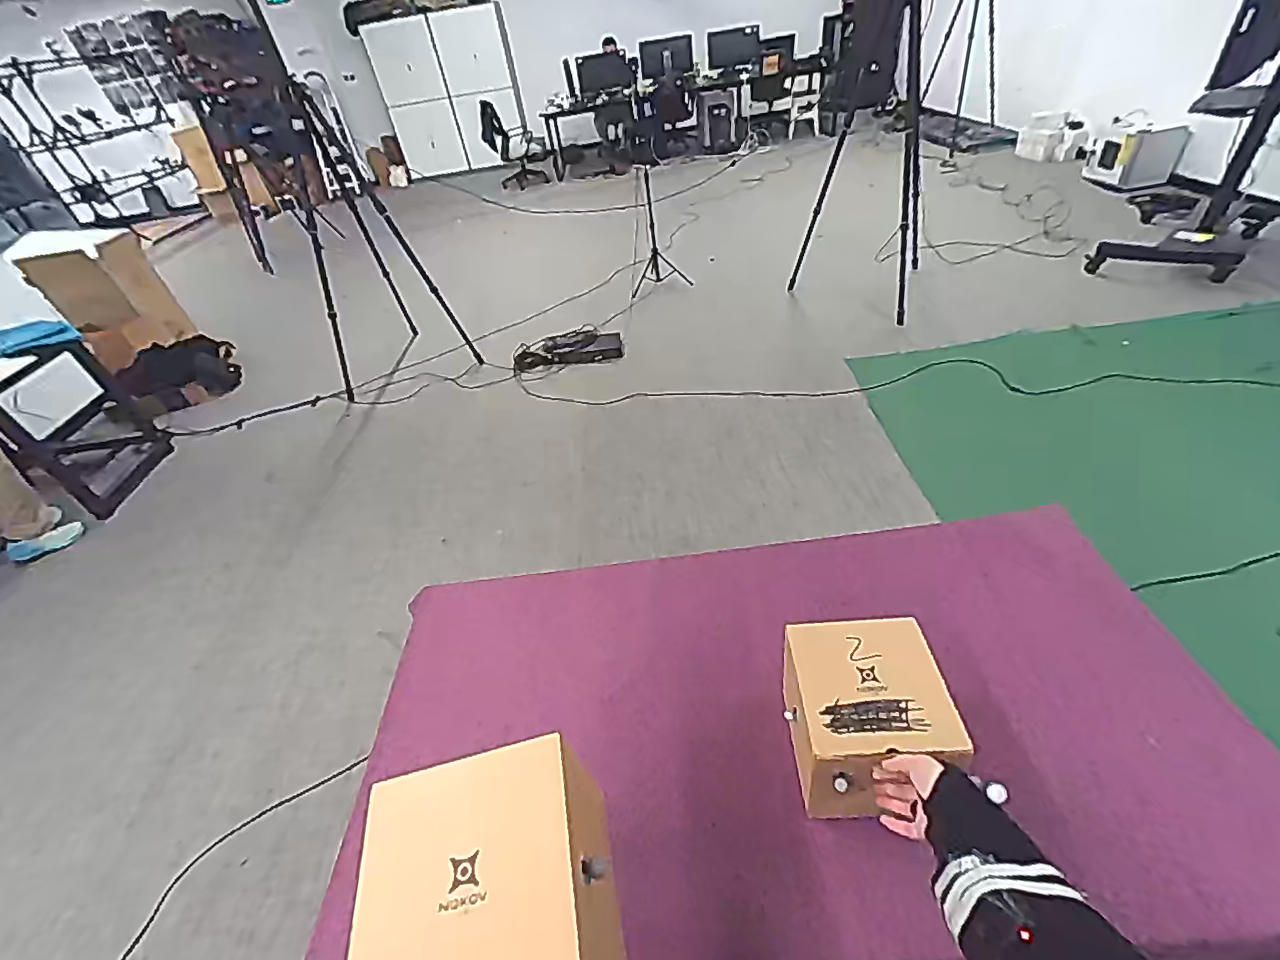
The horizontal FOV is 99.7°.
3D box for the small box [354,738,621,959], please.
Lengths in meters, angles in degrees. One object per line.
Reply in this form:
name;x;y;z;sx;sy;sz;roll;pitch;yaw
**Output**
small box;-0.118;0.359;0.468;0.168;0.176;0.179;-15;45;-1
